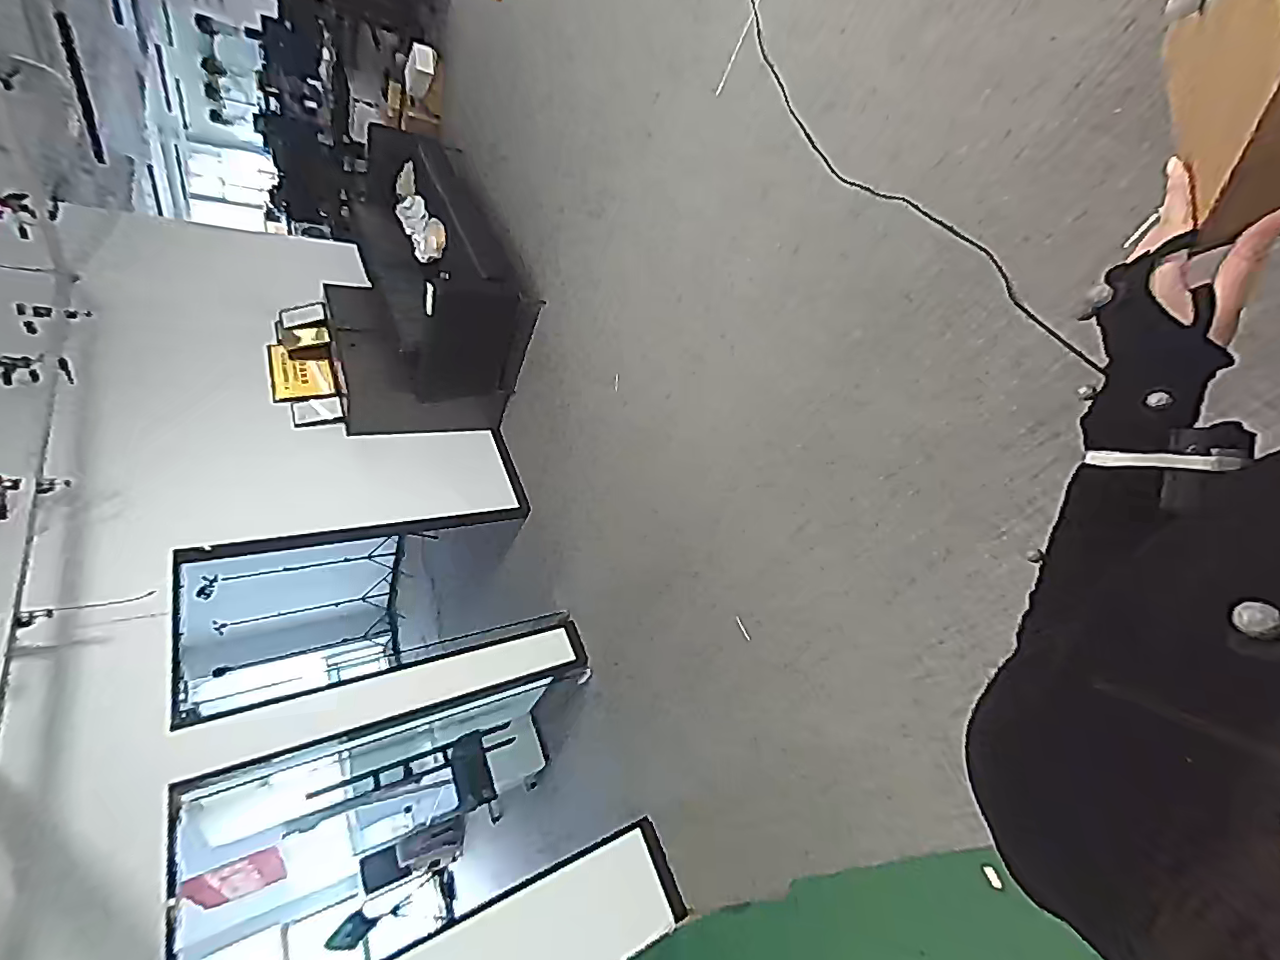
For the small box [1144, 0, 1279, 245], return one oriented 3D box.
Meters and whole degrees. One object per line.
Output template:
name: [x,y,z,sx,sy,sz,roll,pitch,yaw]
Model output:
small box: [0.401,-0.262,0.281,0.179,0.168,0.176,-2,78,33]
